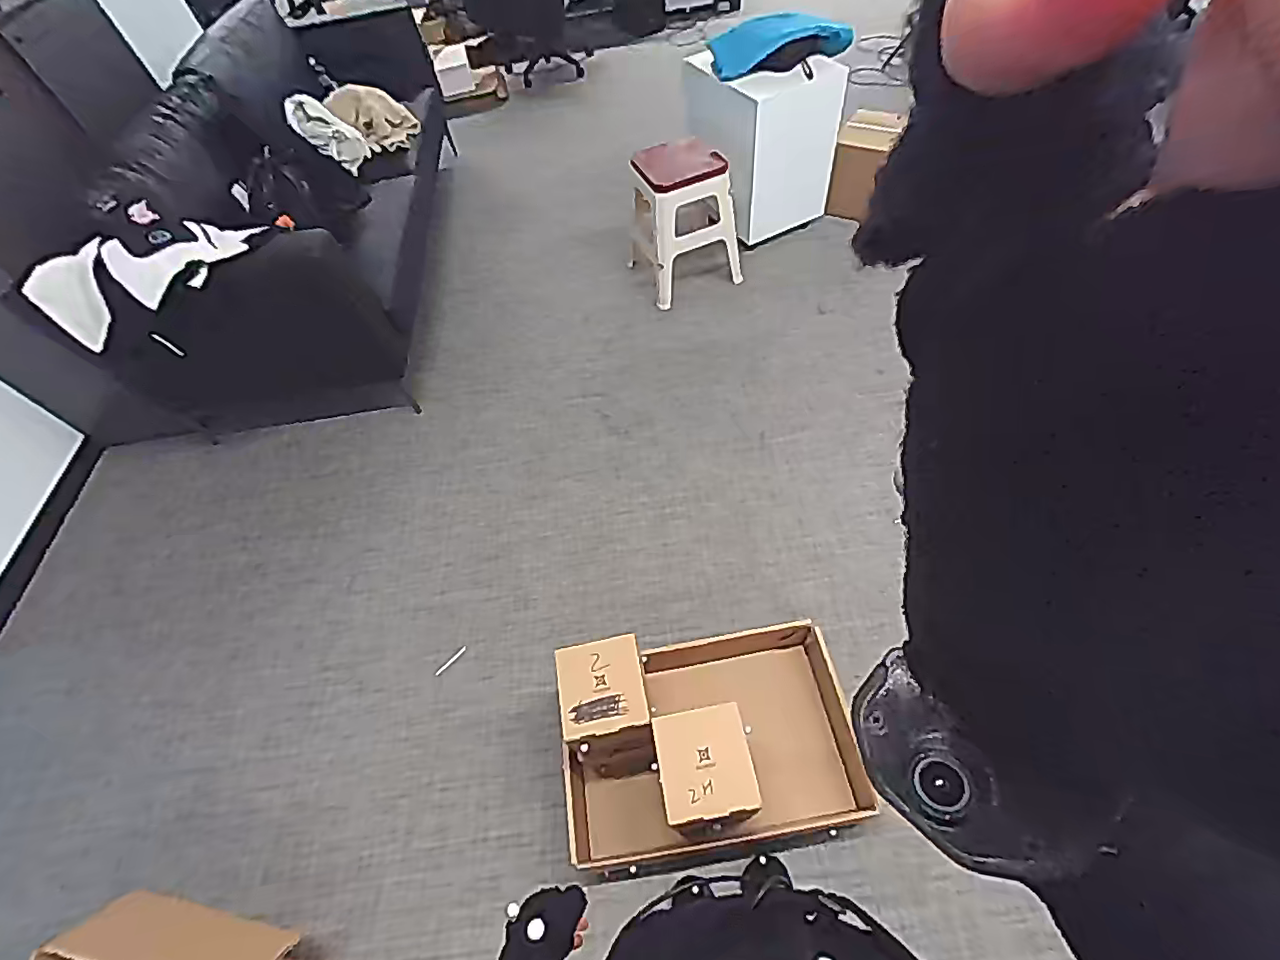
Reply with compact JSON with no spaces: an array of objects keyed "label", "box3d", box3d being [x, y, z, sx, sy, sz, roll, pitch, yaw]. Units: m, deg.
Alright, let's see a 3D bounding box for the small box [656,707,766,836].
[{"label":"small box","box3d":[0.127,0.548,1.013,0.168,0.176,0.179,-11,55,0]}]
